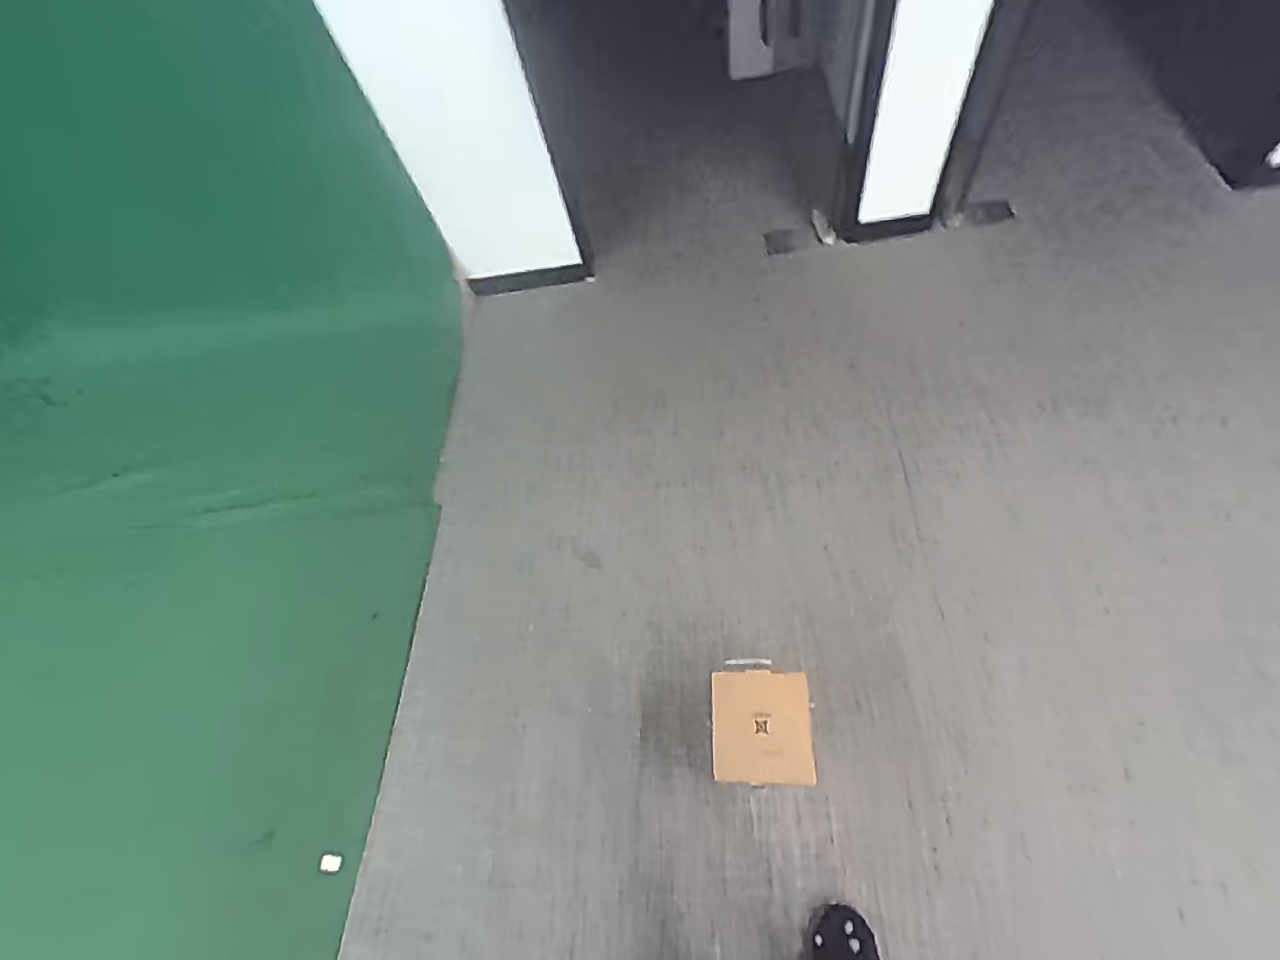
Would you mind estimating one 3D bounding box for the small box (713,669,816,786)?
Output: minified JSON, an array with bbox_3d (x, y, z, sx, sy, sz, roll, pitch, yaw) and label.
[{"bbox_3d":[0.222,0.451,0.983,0.168,0.176,0.179,-4,61,13],"label":"small box"}]
